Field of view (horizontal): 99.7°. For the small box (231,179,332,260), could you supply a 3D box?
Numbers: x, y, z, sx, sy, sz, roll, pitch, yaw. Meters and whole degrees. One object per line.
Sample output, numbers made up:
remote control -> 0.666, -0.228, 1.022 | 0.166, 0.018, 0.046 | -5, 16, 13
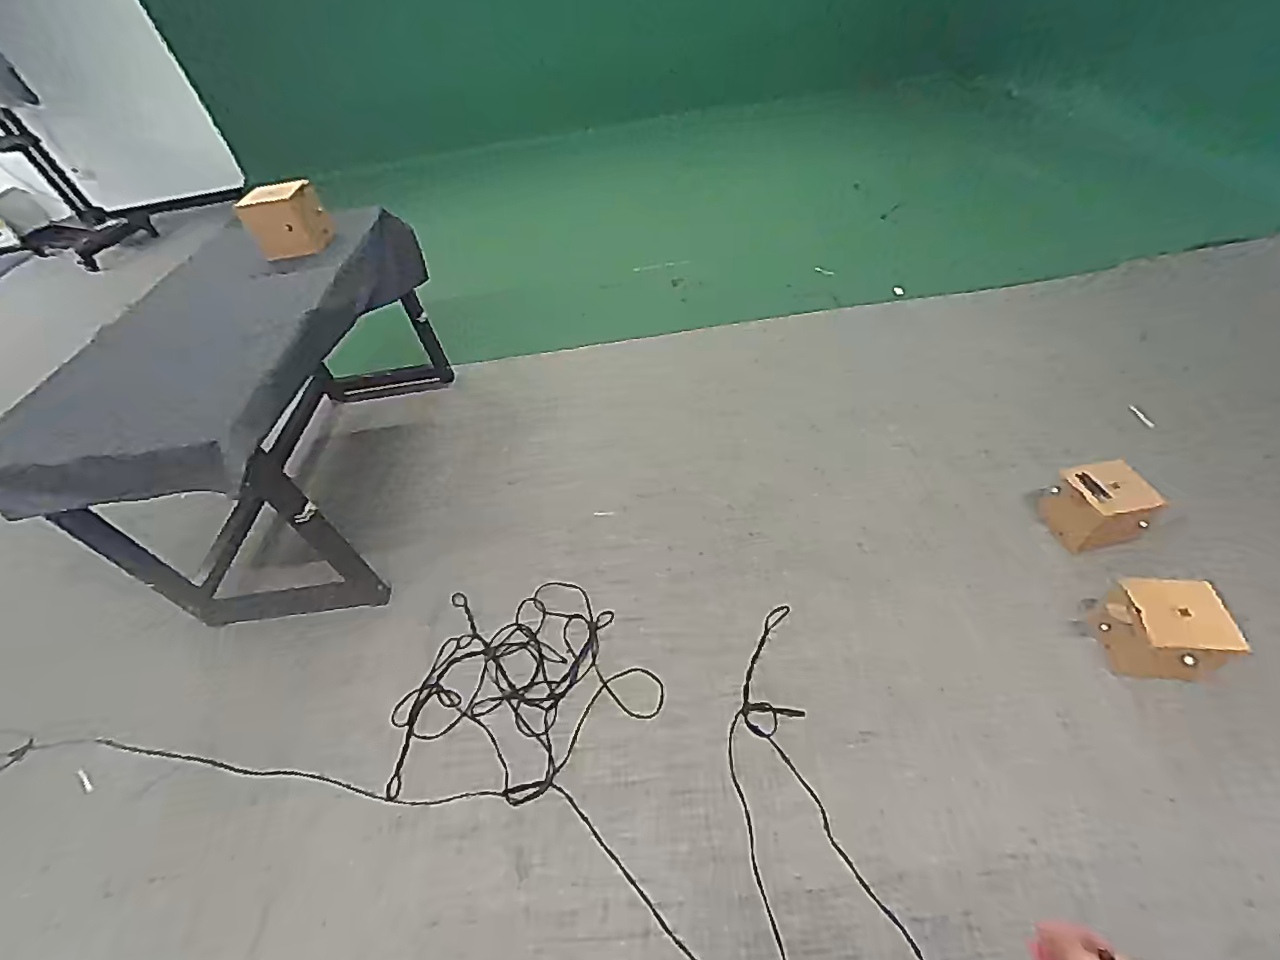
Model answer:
small box -> -1.109, -0.811, 1.691 | 0.179, 0.176, 0.168 | -8, 46, 5

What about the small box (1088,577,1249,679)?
small box -> 1.179, 0.338, 1.225 | 0.179, 0.176, 0.168 | 0, 48, 11
